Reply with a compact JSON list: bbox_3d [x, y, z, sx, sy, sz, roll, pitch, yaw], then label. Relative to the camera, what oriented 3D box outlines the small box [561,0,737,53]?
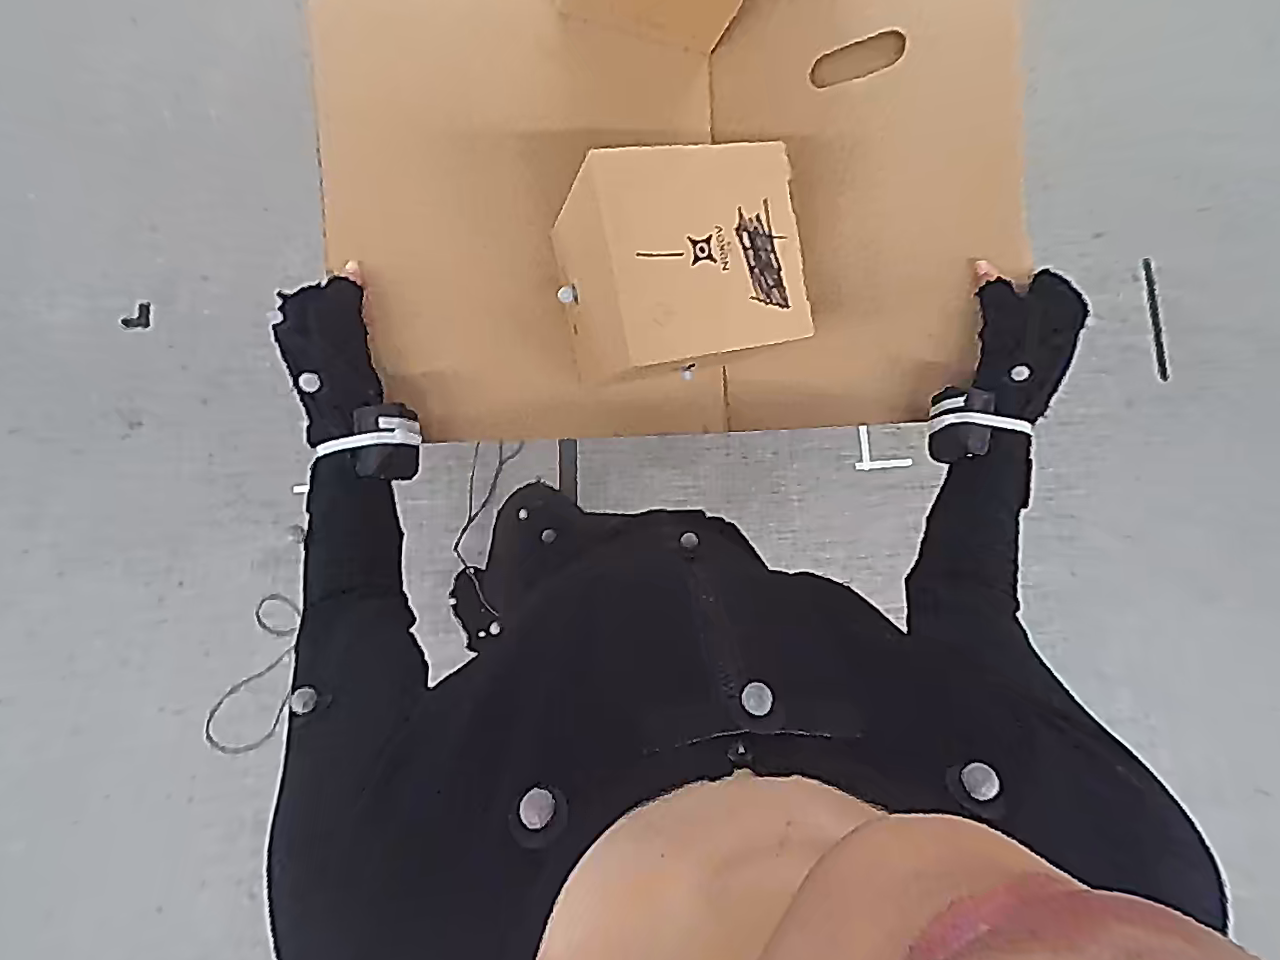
[{"bbox_3d":[0.023,-0.555,0.508,0.179,0.176,0.168,0,92,-20],"label":"small box"}]

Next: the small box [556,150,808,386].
[{"bbox_3d":[0.031,-0.193,0.525,0.179,0.176,0.168,-13,97,-18],"label":"small box"}]
